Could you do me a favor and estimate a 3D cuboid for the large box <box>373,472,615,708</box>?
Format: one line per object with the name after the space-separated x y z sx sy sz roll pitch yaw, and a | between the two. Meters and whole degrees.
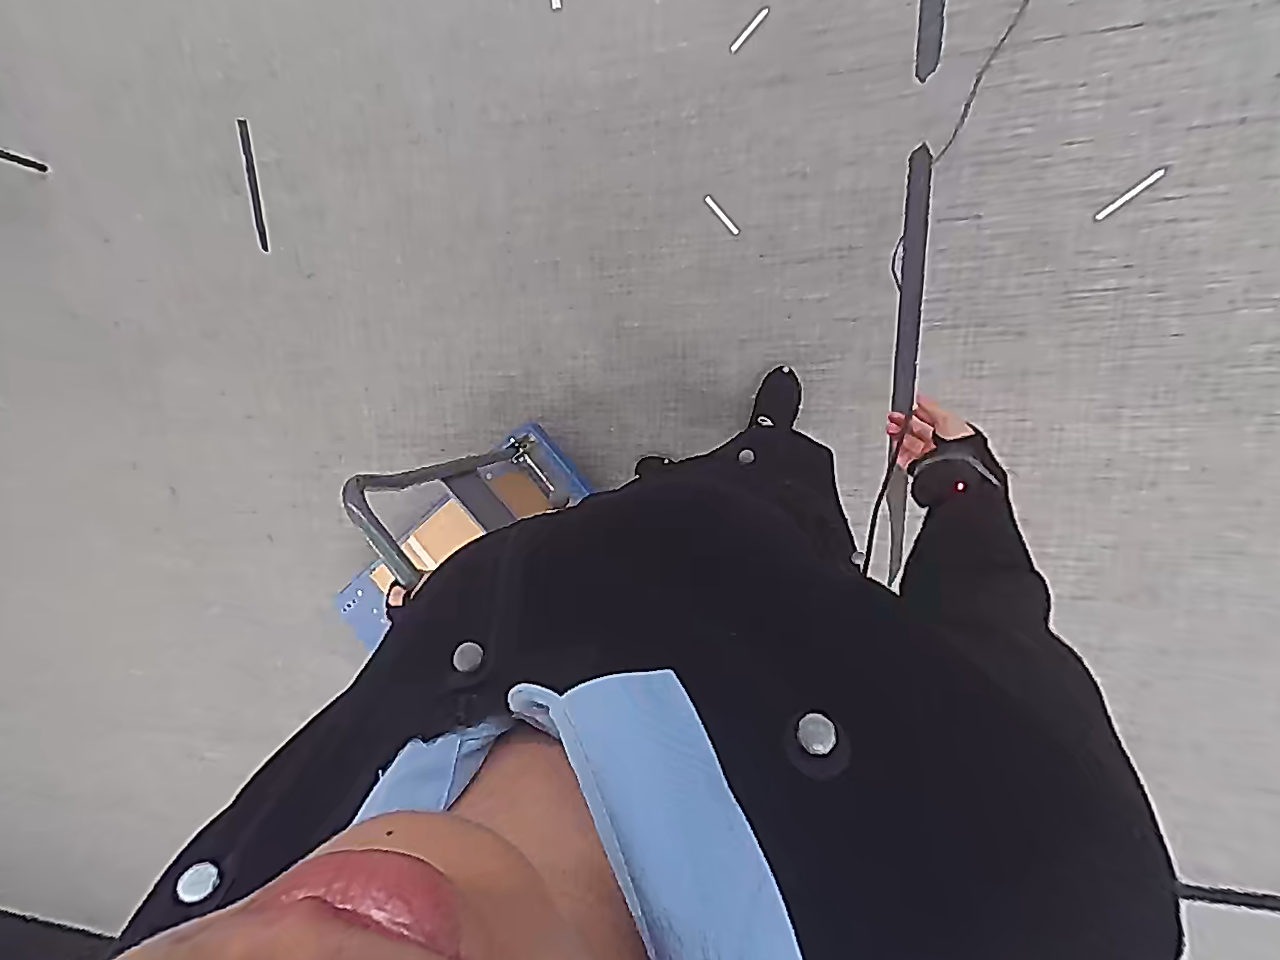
-0.329 0.245 1.306 0.320 0.320 0.408 -39 90 17 | large box
